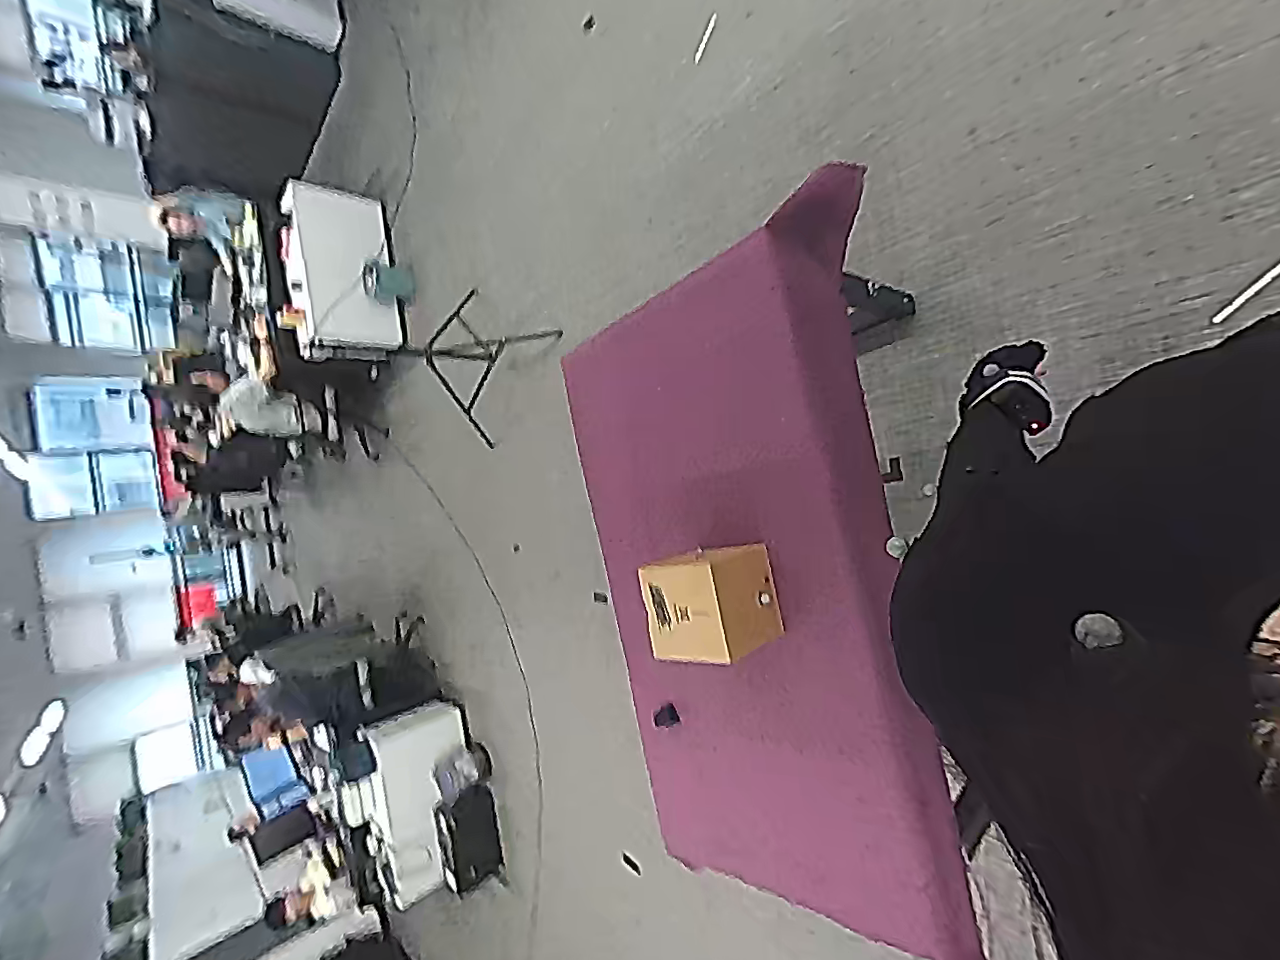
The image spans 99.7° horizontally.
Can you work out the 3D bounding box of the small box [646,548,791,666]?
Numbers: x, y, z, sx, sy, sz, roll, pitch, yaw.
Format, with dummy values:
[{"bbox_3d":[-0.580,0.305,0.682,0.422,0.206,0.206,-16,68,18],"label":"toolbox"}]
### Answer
[{"bbox_3d":[0.141,0.223,0.975,0.179,0.176,0.168,-16,84,46],"label":"small box"}]
